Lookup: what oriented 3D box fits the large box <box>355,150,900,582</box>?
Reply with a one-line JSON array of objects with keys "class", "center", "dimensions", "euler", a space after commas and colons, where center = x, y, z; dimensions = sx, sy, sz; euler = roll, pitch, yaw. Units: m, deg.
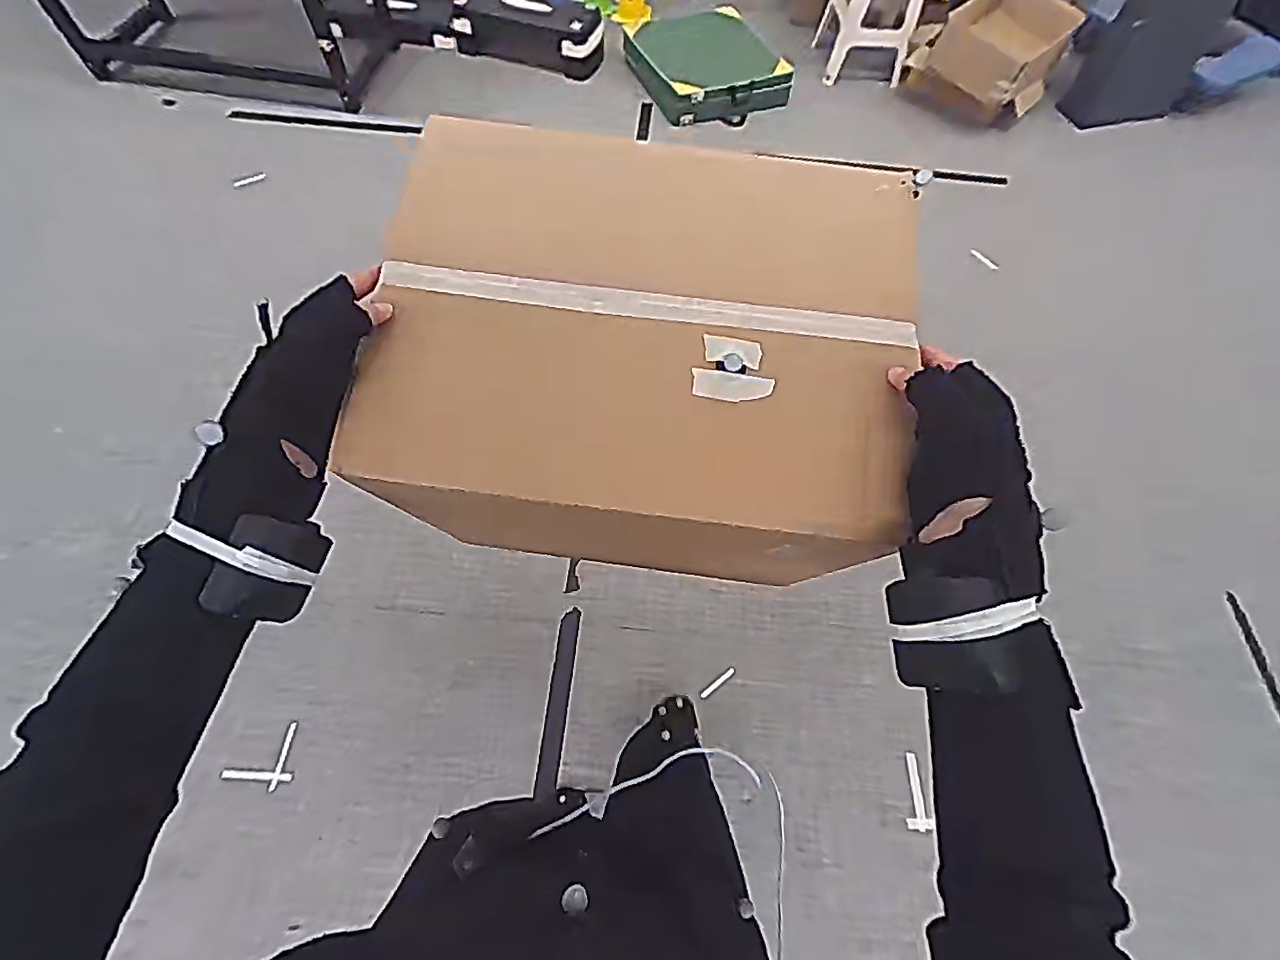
[{"class": "large box", "center": [0.000, -0.080, 0.571], "dimensions": [0.408, 0.320, 0.320], "euler": [7, 74, 0]}]
